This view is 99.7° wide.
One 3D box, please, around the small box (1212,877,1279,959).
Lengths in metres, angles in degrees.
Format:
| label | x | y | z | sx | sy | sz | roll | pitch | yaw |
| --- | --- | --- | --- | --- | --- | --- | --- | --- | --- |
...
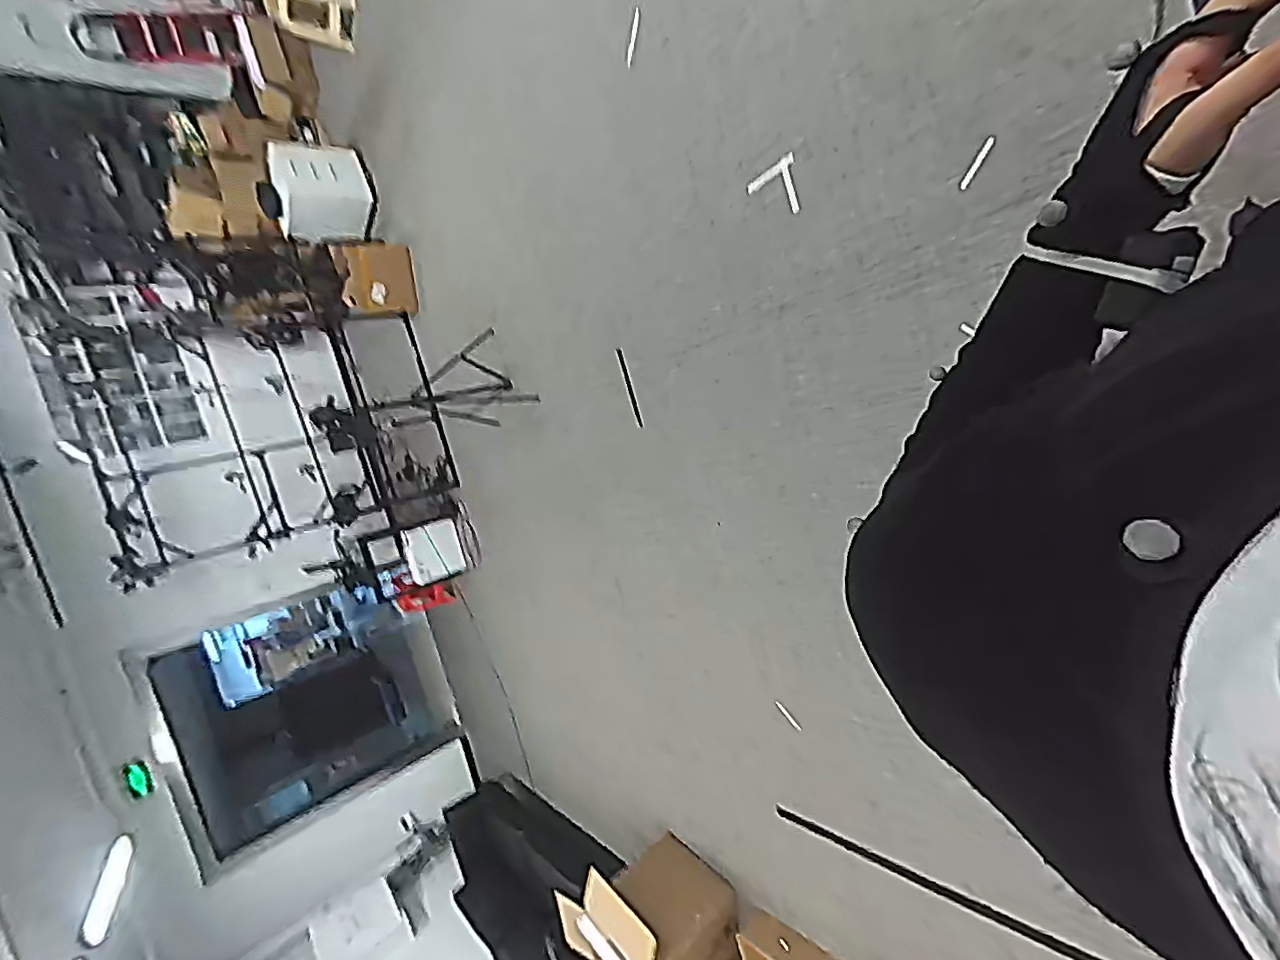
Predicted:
| label | x | y | z | sx | sy | sz | roll | pitch | yaw |
| --- | --- | --- | --- | --- | --- | --- | --- | --- | --- |
| small box | 1.349 | 1.000 | 1.143 | 0.168 | 0.176 | 0.179 | -10 | 96 | 53 |
